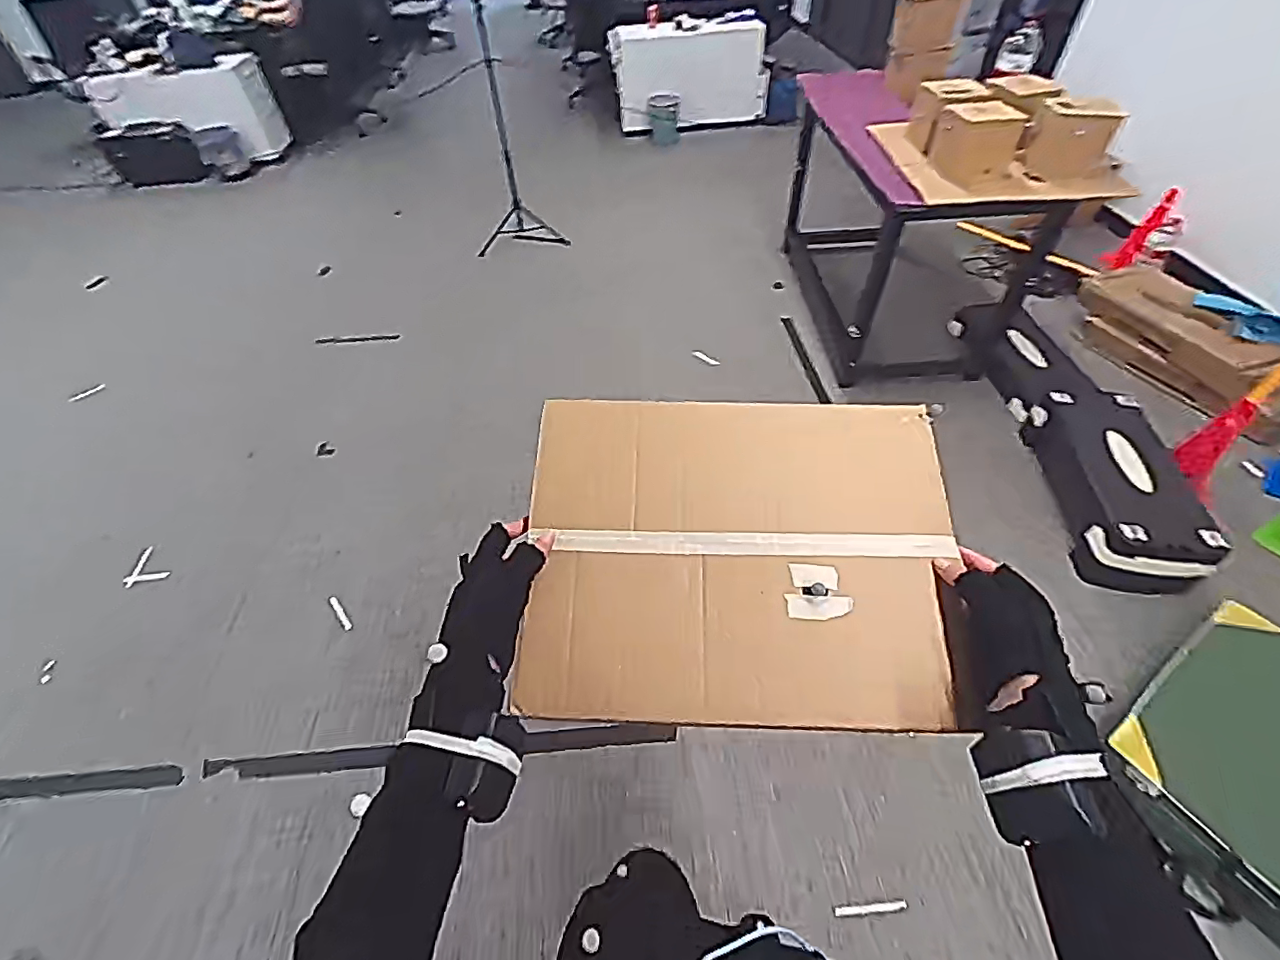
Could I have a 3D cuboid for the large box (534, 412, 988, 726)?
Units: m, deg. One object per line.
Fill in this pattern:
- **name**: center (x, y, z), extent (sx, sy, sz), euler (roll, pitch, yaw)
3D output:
- **large box**: center (0.107, 0.127, 0.663), extent (0.408, 0.320, 0.320), euler (1, 67, 1)
